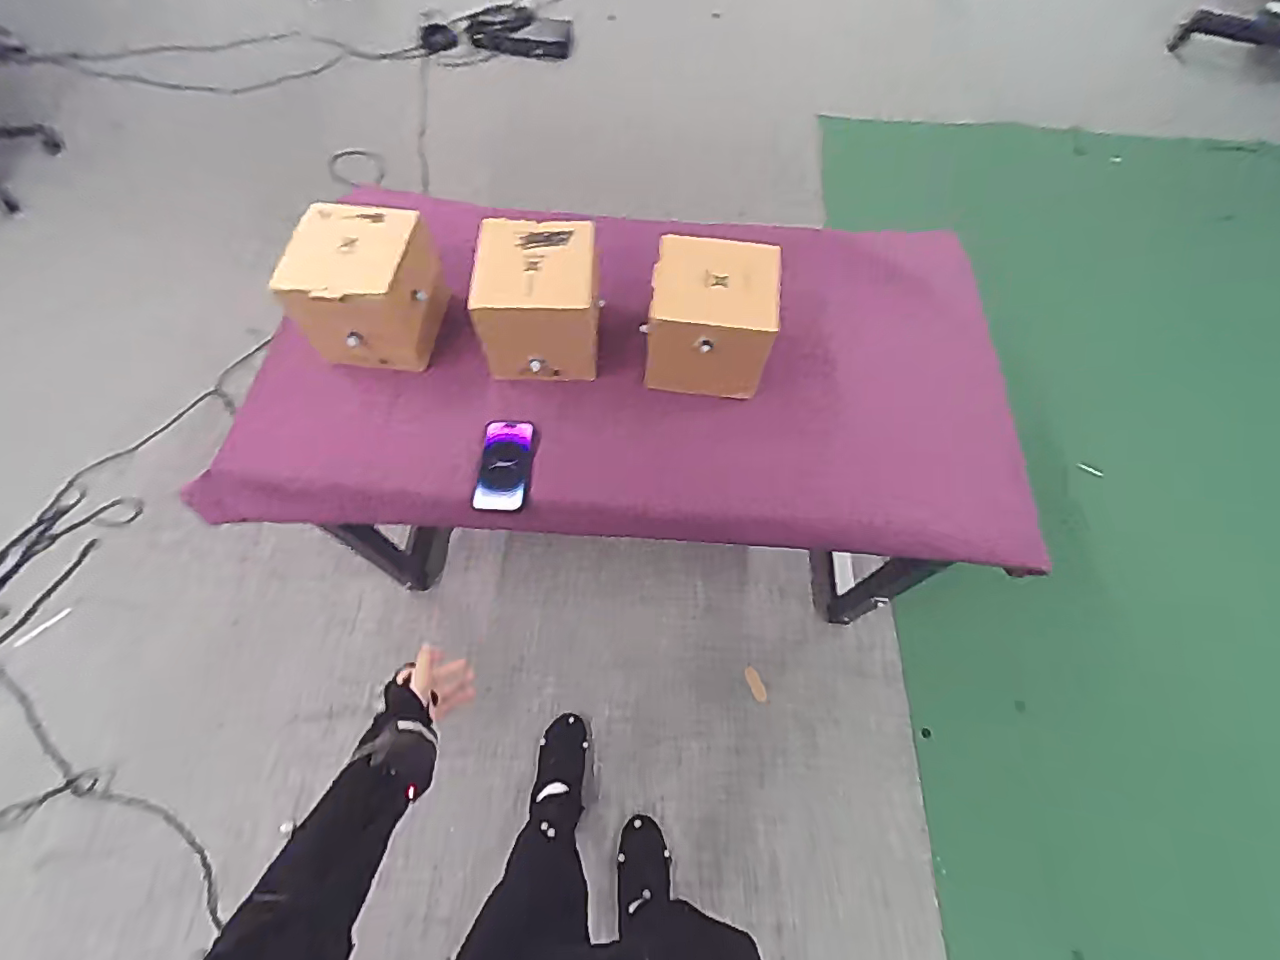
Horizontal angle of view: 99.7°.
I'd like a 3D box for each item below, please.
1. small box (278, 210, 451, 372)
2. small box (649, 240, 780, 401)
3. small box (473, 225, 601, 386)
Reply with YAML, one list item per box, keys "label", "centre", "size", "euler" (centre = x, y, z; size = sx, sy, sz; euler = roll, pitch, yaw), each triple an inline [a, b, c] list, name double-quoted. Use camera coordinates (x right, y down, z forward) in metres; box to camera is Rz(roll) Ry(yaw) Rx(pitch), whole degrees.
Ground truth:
- label: "small box"
  centre: [-0.416, -0.290, 0.854]
  size: [0.168, 0.176, 0.179]
  euler: [6, 64, 1]
- label: "small box"
  centre: [0.109, -0.240, 0.840]
  size: [0.179, 0.176, 0.168]
  euler: [8, 64, 3]
- label: "small box"
  centre: [-0.149, -0.270, 0.849]
  size: [0.168, 0.176, 0.179]
  euler: [1, 64, -1]
